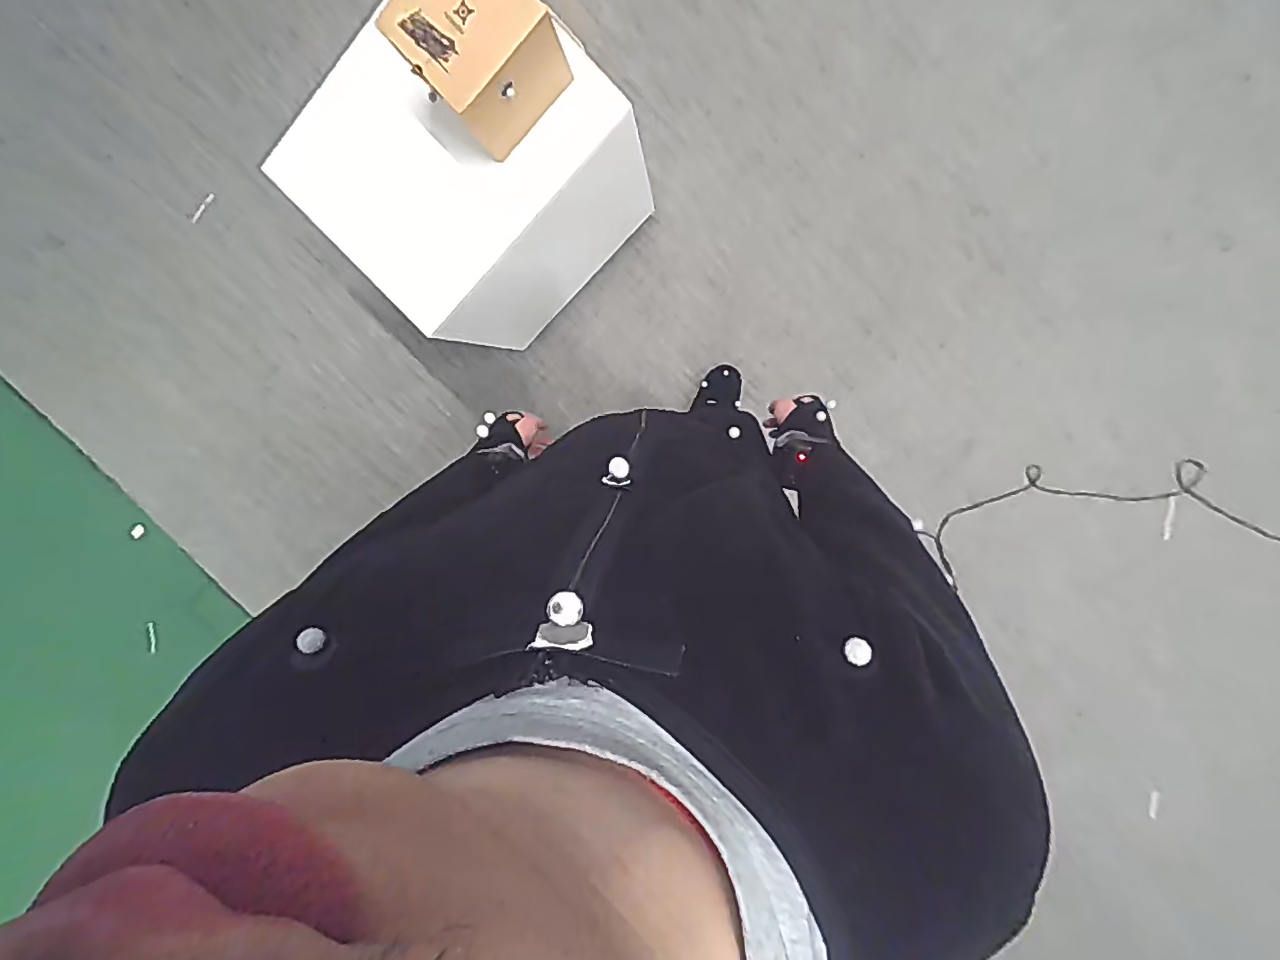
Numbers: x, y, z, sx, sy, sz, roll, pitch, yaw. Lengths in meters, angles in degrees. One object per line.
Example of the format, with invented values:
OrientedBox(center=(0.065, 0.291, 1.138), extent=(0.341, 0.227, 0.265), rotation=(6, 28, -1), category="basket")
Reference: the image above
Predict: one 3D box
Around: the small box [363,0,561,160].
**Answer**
OrientedBox(center=(-0.234, -0.599, 0.759), extent=(0.179, 0.176, 0.168), rotation=(-44, 95, 9), category="small box")
